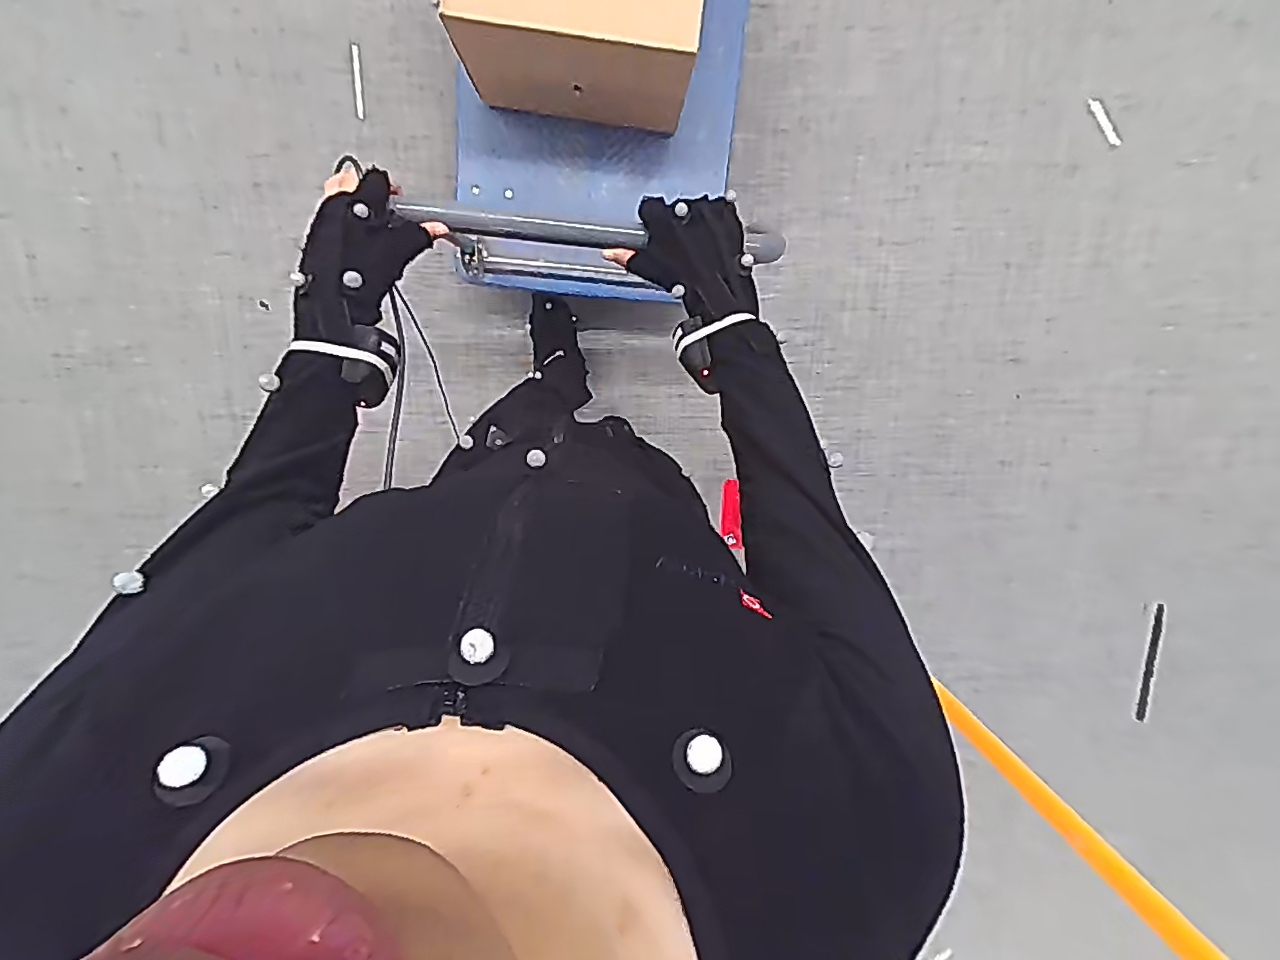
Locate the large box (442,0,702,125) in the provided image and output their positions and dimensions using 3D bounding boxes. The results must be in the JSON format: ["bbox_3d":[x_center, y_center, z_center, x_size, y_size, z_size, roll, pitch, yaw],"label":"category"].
[{"bbox_3d":[-0.098,-0.874,0.954,0.408,0.320,0.320,6,102,-4],"label":"large box"}]

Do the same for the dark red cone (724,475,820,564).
[{"bbox_3d":[0.341,0.120,1.315,0.201,0.394,0.202,0,103,-4],"label":"dark red cone"}]
